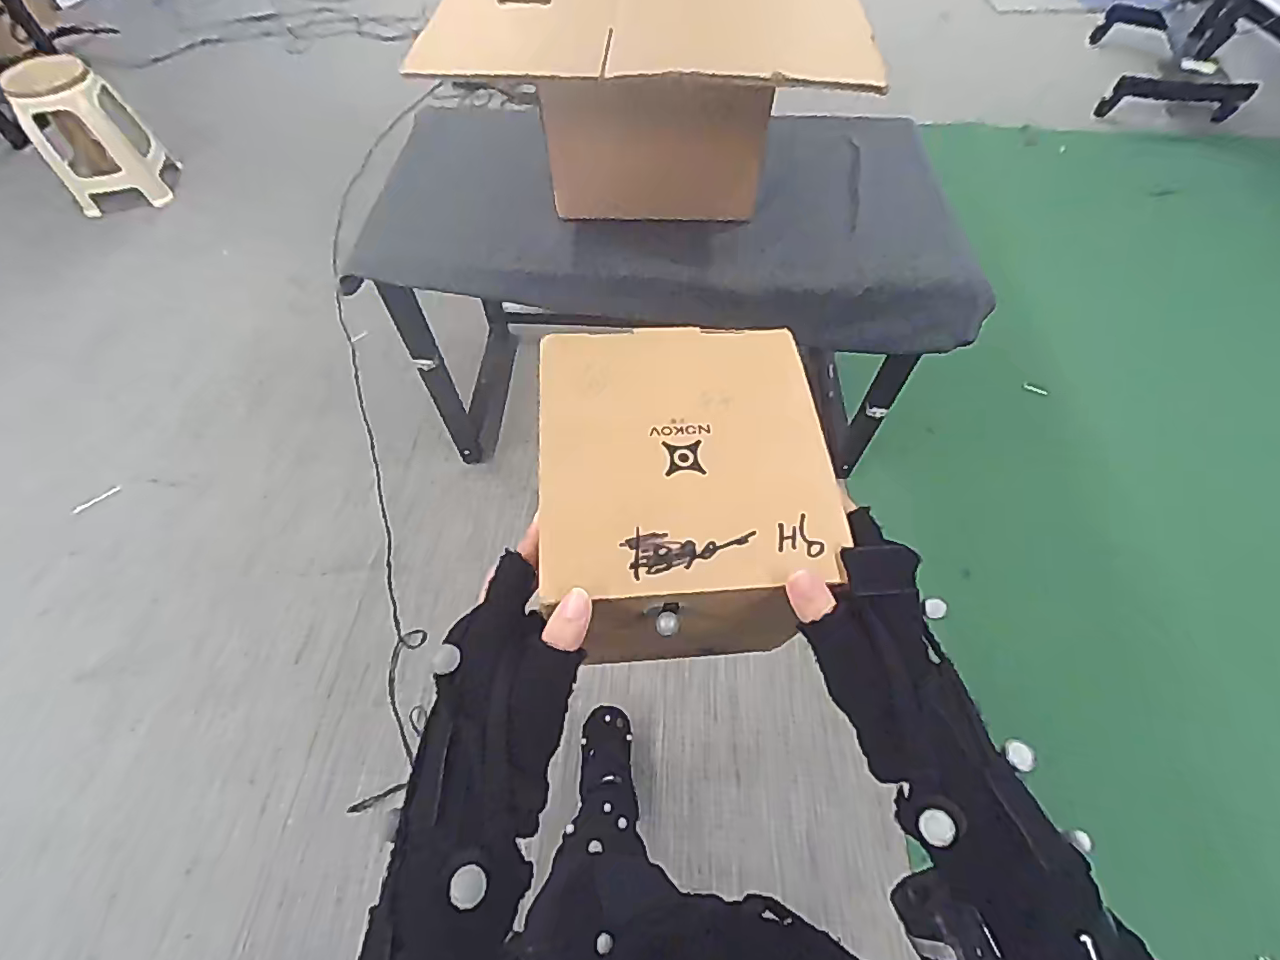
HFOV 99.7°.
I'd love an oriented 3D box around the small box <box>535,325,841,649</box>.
[{"bbox_3d":[0.018,0.011,0.394,0.168,0.176,0.179,-3,60,-4],"label":"small box"}]
